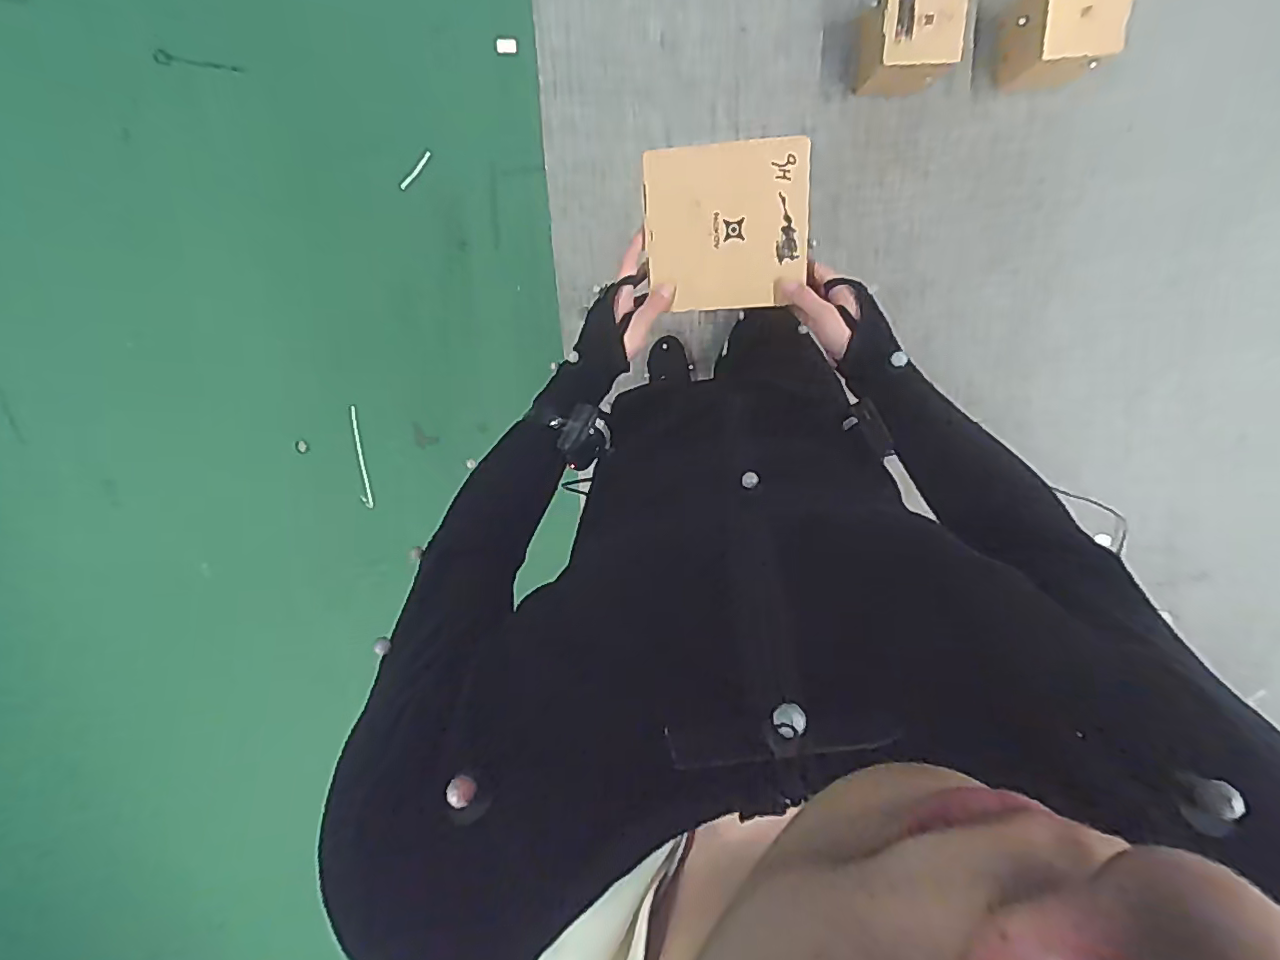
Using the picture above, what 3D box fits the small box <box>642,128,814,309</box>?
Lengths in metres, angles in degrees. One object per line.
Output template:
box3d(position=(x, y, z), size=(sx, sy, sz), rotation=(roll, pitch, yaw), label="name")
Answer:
box3d(position=(0.100, -0.295, 0.647), size=(0.179, 0.176, 0.168), rotation=(-1, 107, 6), label="small box")

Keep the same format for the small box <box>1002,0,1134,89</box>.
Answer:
box3d(position=(0.963, -1.018, 1.228), size=(0.179, 0.176, 0.168), rotation=(-4, 106, 2), label="small box")
